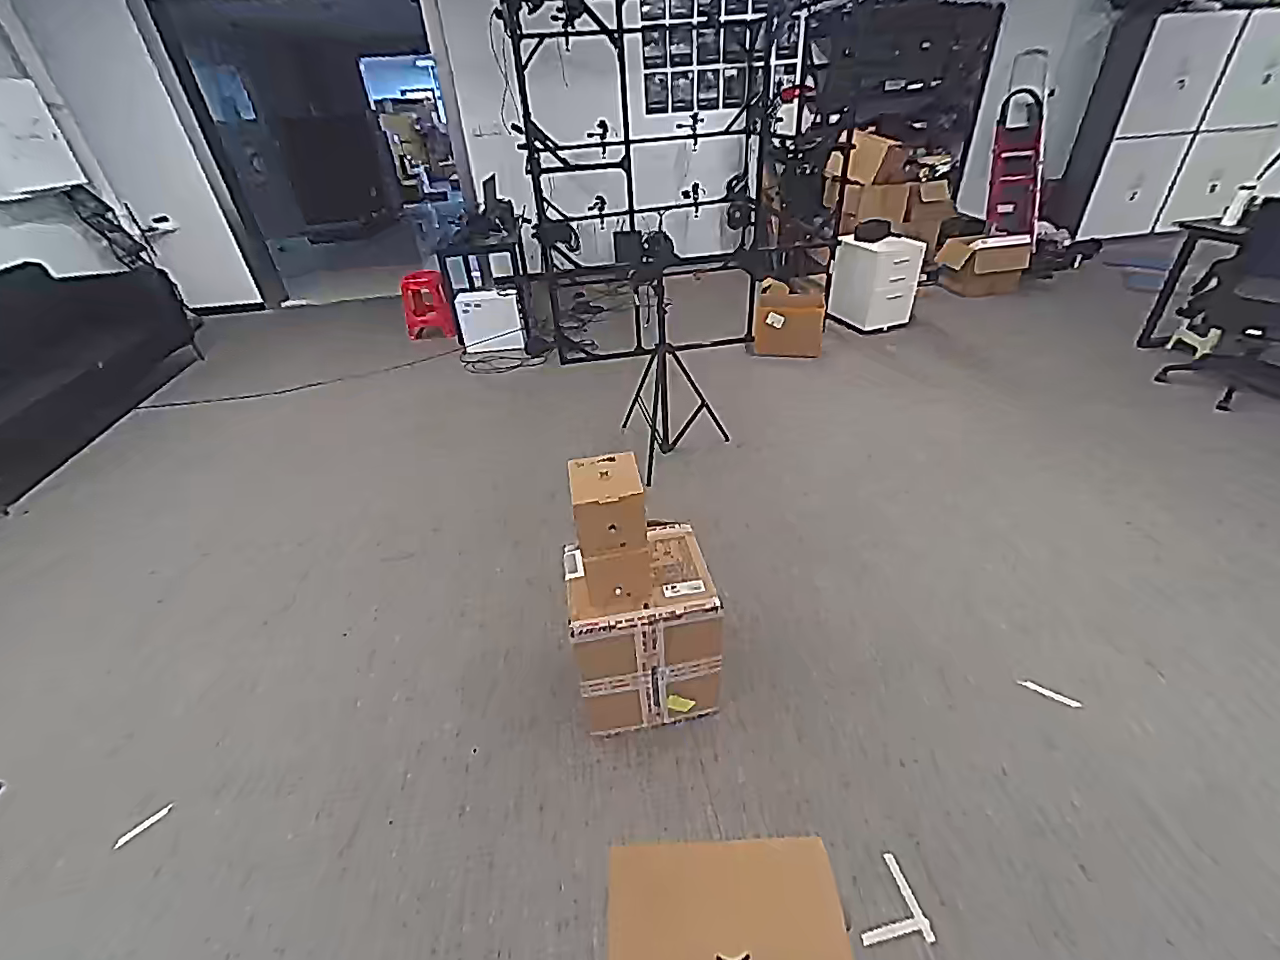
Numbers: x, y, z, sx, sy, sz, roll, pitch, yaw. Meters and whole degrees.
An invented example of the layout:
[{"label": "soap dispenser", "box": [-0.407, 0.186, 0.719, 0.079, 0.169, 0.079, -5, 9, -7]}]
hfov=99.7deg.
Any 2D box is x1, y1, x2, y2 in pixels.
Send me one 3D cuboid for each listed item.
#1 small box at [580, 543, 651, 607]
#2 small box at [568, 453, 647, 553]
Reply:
[{"label": "small box", "box": [-0.068, 0.200, 1.400, 0.168, 0.176, 0.179, -10, 39, -7]}, {"label": "small box", "box": [-0.078, 0.062, 1.312, 0.168, 0.176, 0.179, -9, 38, -5]}]
